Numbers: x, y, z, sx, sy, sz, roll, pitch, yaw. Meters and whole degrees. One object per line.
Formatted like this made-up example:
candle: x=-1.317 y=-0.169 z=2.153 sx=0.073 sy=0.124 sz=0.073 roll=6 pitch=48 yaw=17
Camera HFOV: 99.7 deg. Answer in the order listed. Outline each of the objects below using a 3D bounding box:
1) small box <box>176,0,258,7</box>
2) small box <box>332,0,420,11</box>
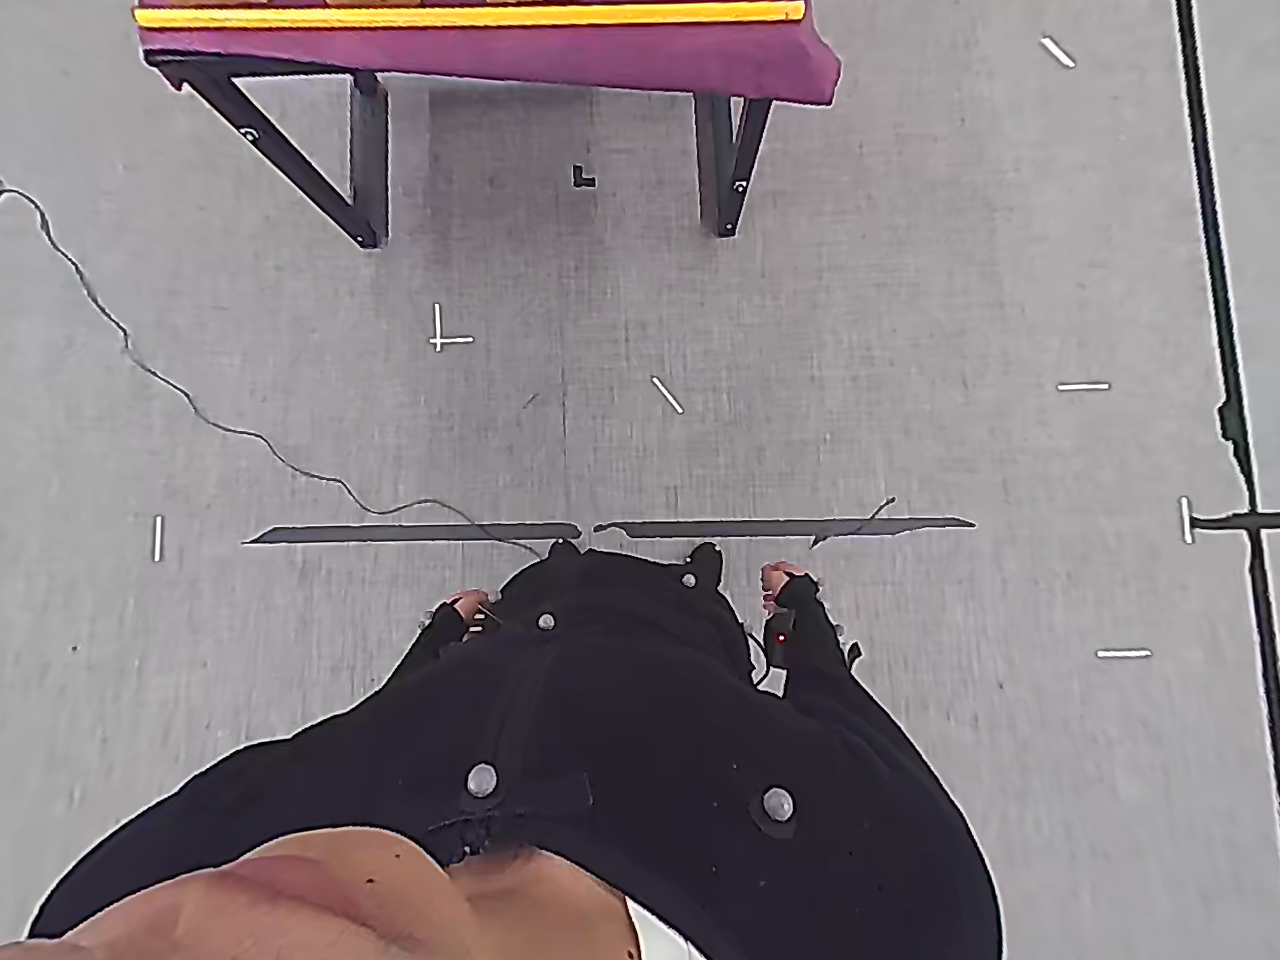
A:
small box: x=-0.762 y=-0.954 z=0.917 sx=0.179 sy=0.176 sz=0.168 roll=-2 pitch=85 yaw=0
small box: x=-0.482 y=-0.949 z=0.912 sx=0.168 sy=0.176 sz=0.179 roll=-2 pitch=86 yaw=2
